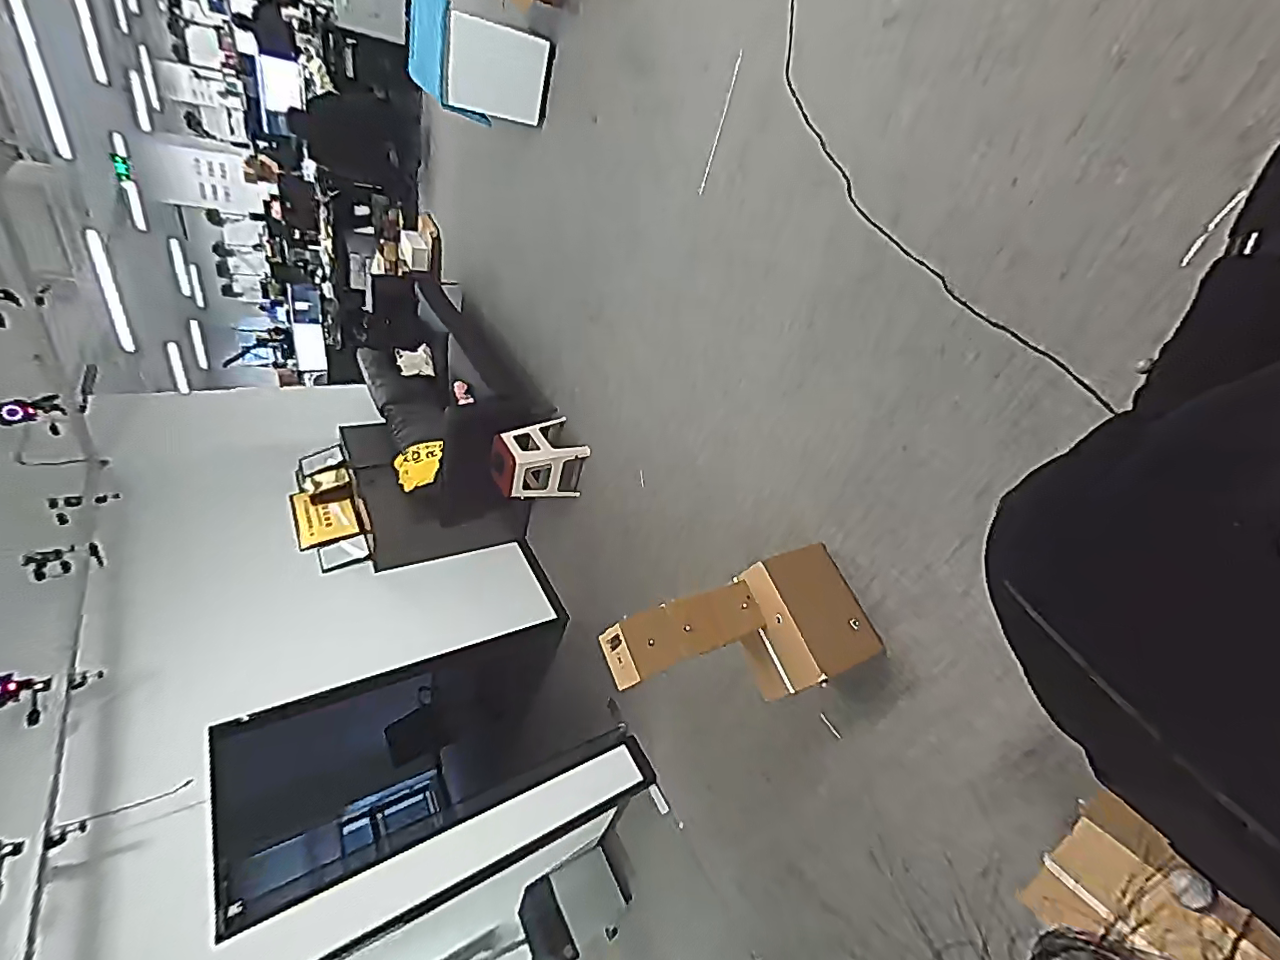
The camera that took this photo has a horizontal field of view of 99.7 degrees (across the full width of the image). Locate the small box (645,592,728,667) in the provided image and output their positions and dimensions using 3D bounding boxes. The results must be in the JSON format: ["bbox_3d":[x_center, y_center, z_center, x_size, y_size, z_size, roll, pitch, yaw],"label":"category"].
[{"bbox_3d":[0.149,0.472,1.727,0.168,0.176,0.179,-51,57,51],"label":"small box"}]

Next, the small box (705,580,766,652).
[{"bbox_3d":[0.287,0.455,1.810,0.168,0.176,0.179,65,145,22],"label":"small box"}]

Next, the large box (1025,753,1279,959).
[{"bbox_3d":[1.122,0.870,1.107,0.408,0.320,0.320,37,128,45],"label":"large box"}]
